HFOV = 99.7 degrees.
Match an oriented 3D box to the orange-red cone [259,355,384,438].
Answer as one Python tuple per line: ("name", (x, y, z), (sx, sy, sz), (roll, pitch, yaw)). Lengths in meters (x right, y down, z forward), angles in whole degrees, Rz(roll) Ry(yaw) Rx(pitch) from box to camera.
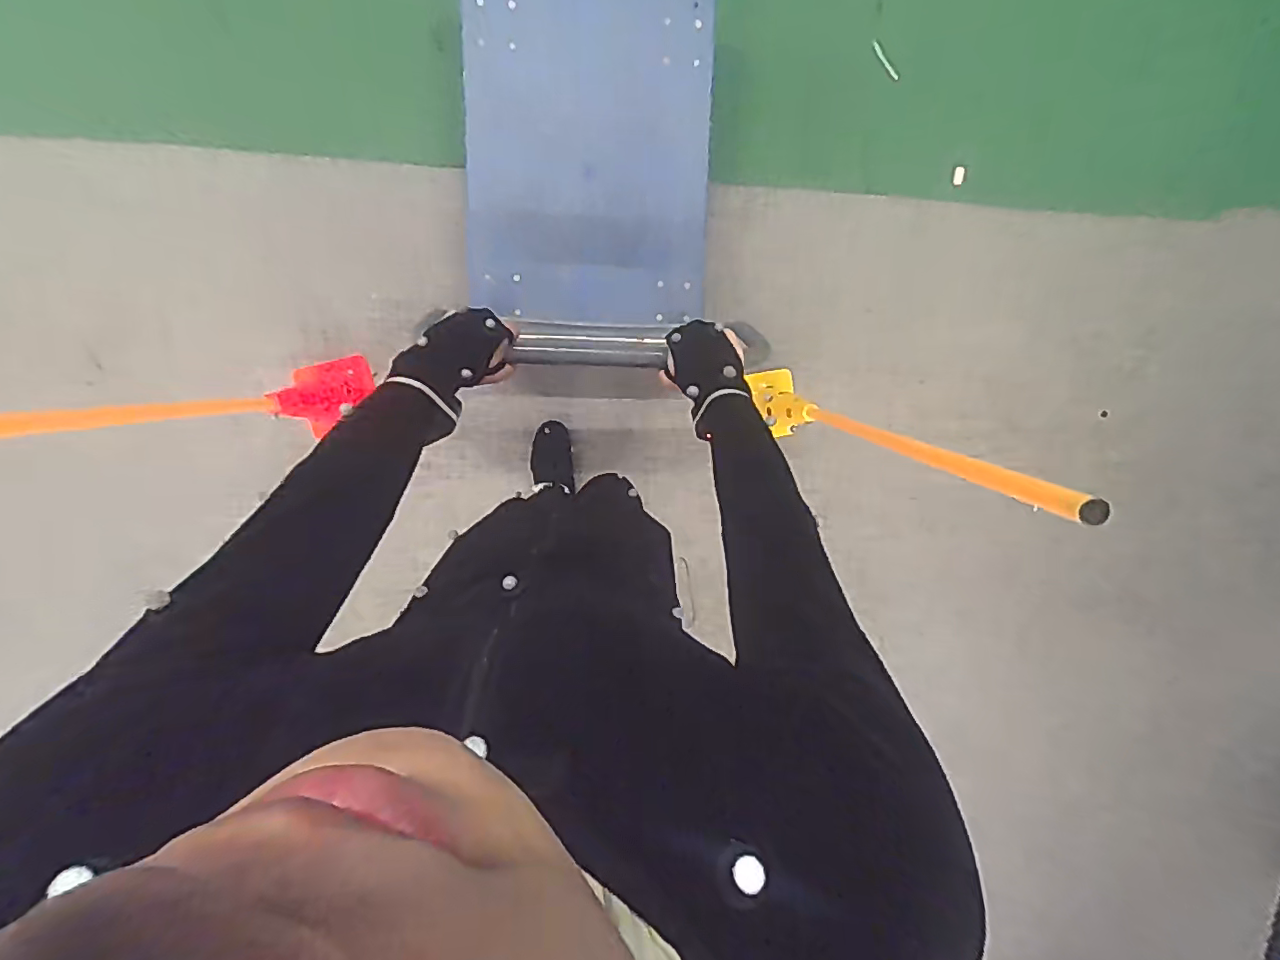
("orange-red cone", (-0.790, -0.193, 1.288), (0.199, 0.360, 0.198), (-14, 102, -3))
